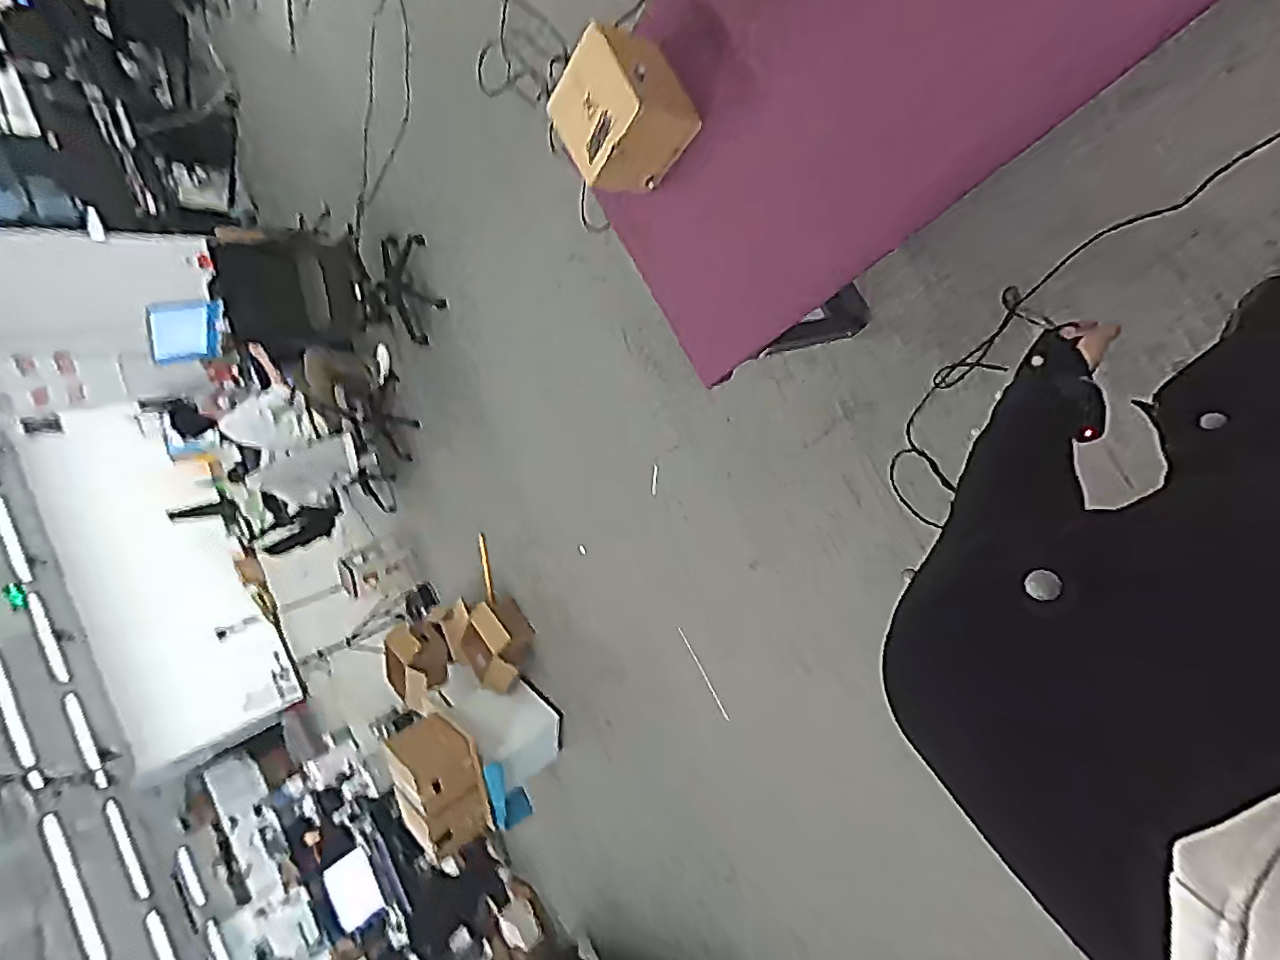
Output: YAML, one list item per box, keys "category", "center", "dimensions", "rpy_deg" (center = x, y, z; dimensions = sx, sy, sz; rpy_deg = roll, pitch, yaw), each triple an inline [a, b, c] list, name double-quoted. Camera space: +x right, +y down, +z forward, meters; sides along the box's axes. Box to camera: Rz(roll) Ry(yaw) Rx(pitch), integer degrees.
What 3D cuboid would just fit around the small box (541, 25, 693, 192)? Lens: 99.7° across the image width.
- category: "small box"
  center: [-0.037, -0.644, 0.961]
  dimensions: [0.168, 0.176, 0.179]
  rpy_deg: [-34, 84, 46]
